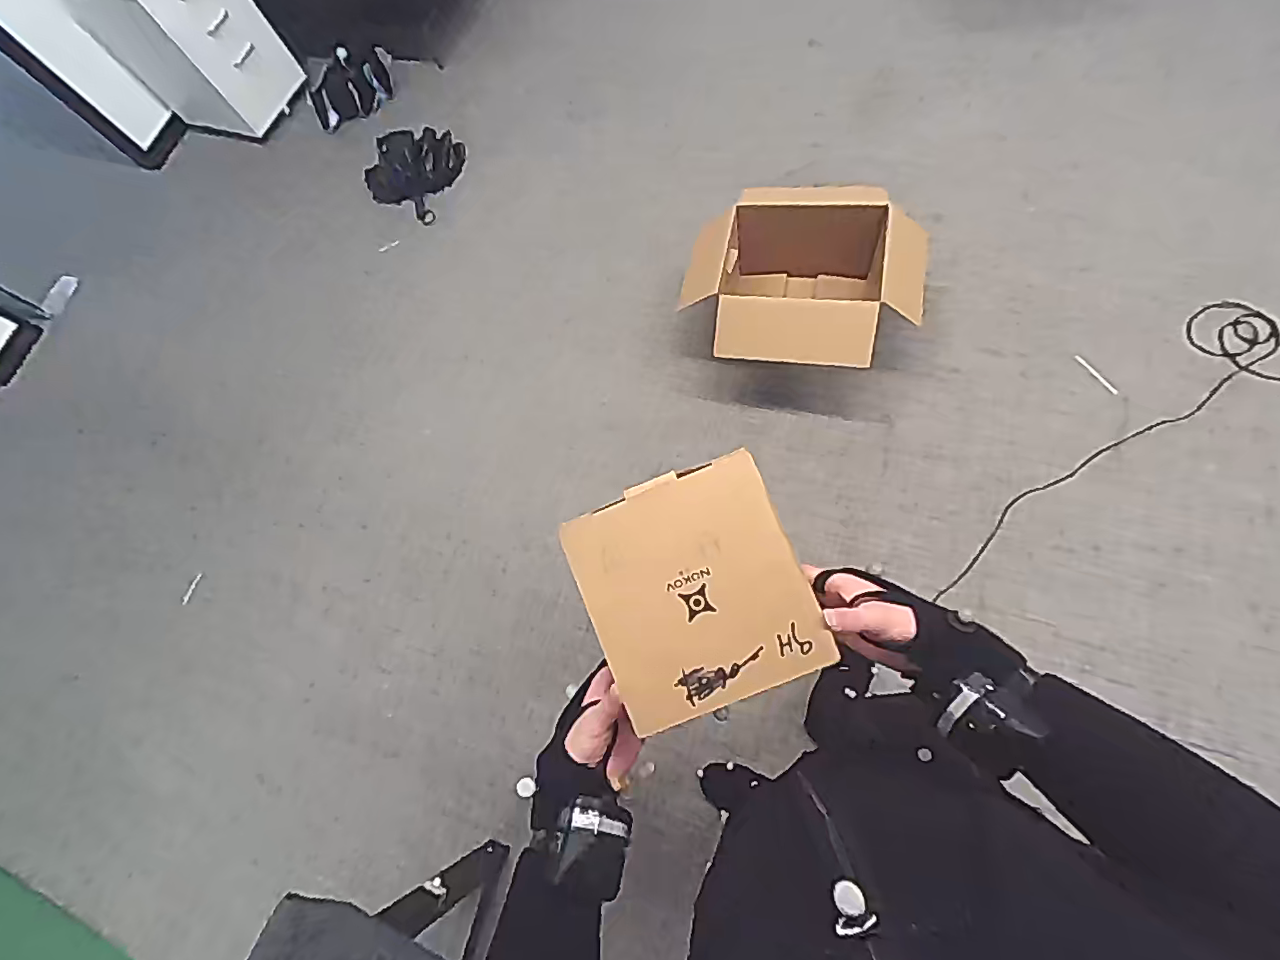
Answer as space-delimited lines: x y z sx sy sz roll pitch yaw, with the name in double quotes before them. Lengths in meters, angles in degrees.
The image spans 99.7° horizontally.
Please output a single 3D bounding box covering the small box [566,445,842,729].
"small box" 0.052 0.089 0.492 0.168 0.176 0.179 -22 82 4
